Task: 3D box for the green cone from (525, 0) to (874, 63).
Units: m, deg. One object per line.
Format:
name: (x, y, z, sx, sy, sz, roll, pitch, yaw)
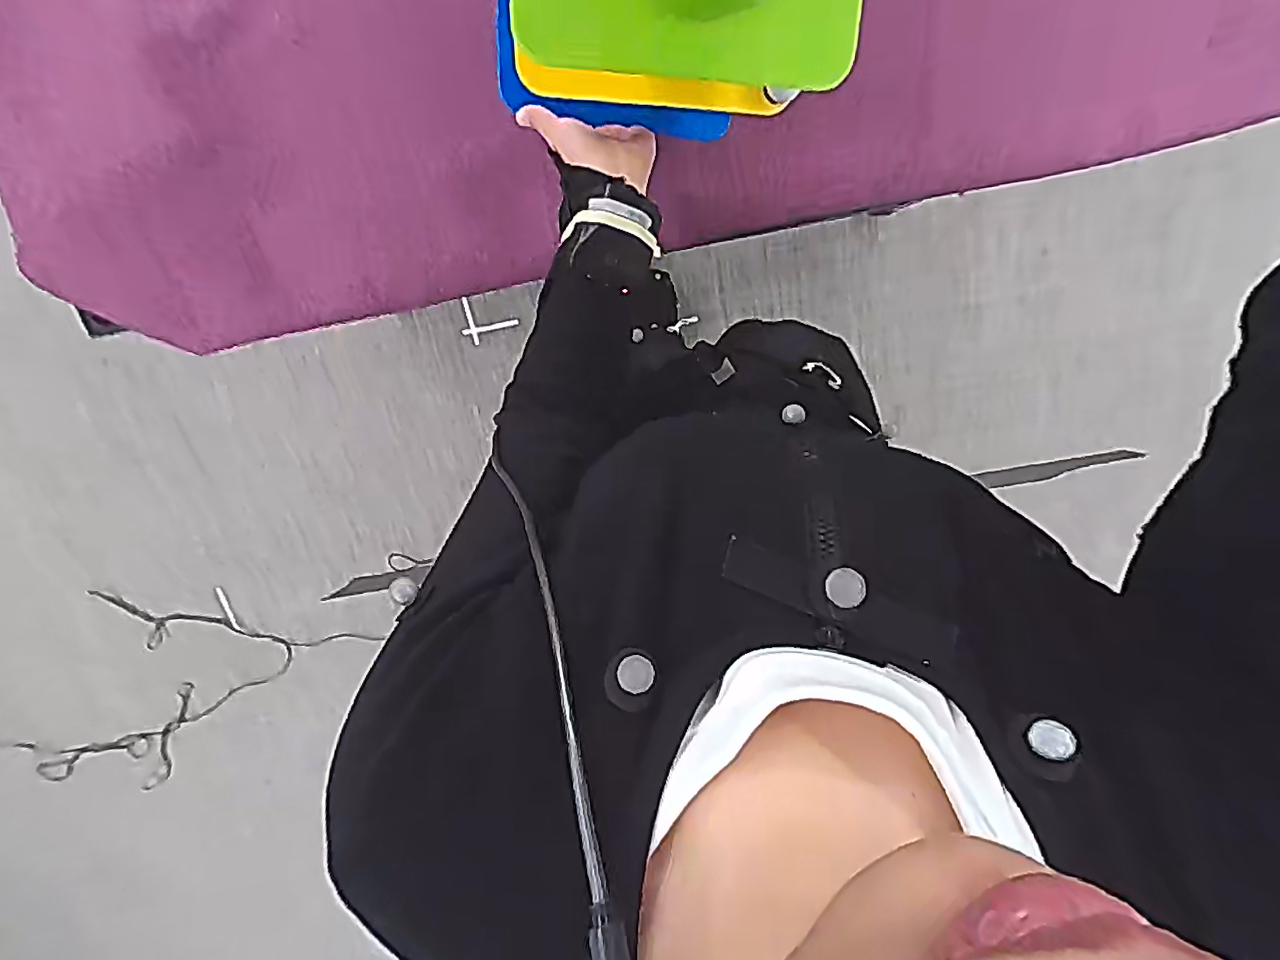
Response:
green cone: (0.052, -0.283, 0.109, 0.200, 0.368, 0.202, -1, 107, -6)
